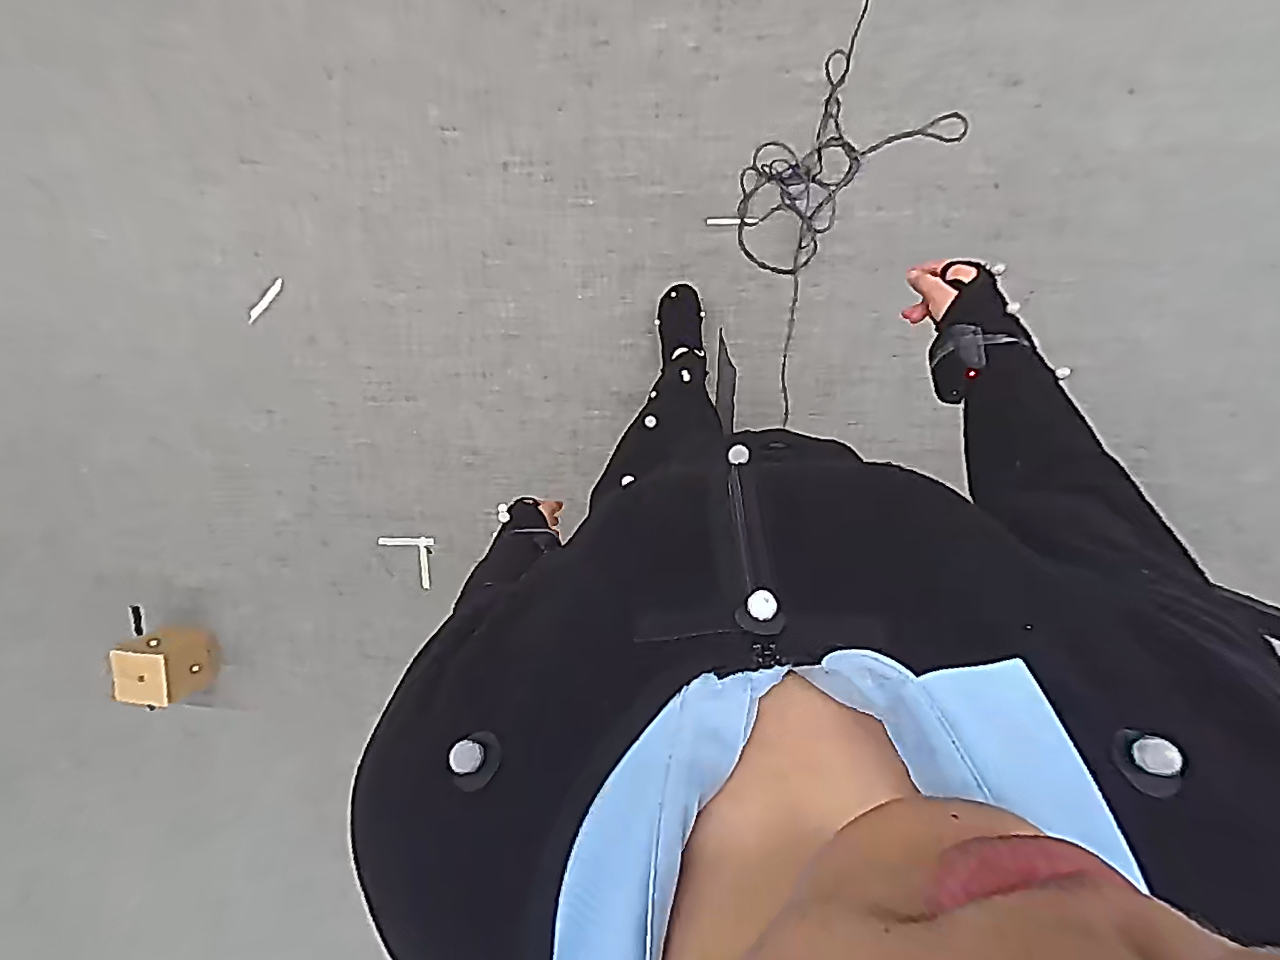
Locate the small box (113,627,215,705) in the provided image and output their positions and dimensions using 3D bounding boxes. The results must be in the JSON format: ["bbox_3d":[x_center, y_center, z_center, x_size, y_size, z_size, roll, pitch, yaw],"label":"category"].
[{"bbox_3d":[-1.457,0.568,1.670,0.179,0.176,0.168,4,99,6],"label":"small box"}]
